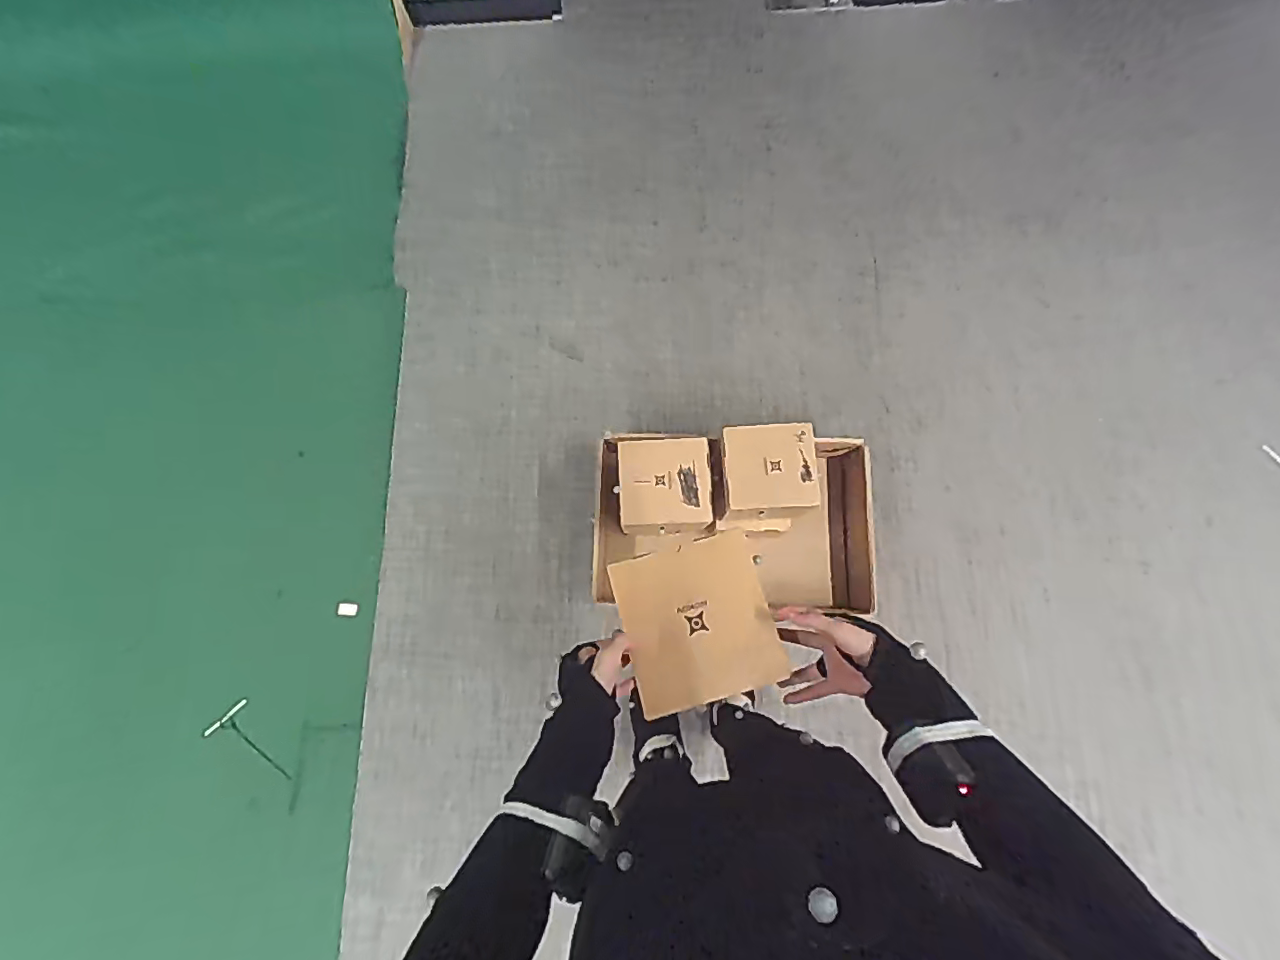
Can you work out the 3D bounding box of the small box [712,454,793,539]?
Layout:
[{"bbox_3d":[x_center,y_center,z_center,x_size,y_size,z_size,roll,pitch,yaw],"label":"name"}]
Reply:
[{"bbox_3d":[0.255,0.041,1.259,0.168,0.176,0.179,1,80,5],"label":"small box"}]

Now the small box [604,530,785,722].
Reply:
[{"bbox_3d":[0.066,0.183,0.676,0.168,0.176,0.179,-17,70,0],"label":"small box"}]

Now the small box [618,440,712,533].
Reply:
[{"bbox_3d":[0.049,0.019,1.106,0.179,0.176,0.168,-3,80,2],"label":"small box"}]

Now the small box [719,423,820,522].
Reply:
[{"bbox_3d":[0.254,-0.009,1.102,0.179,0.176,0.168,-4,79,4],"label":"small box"}]
